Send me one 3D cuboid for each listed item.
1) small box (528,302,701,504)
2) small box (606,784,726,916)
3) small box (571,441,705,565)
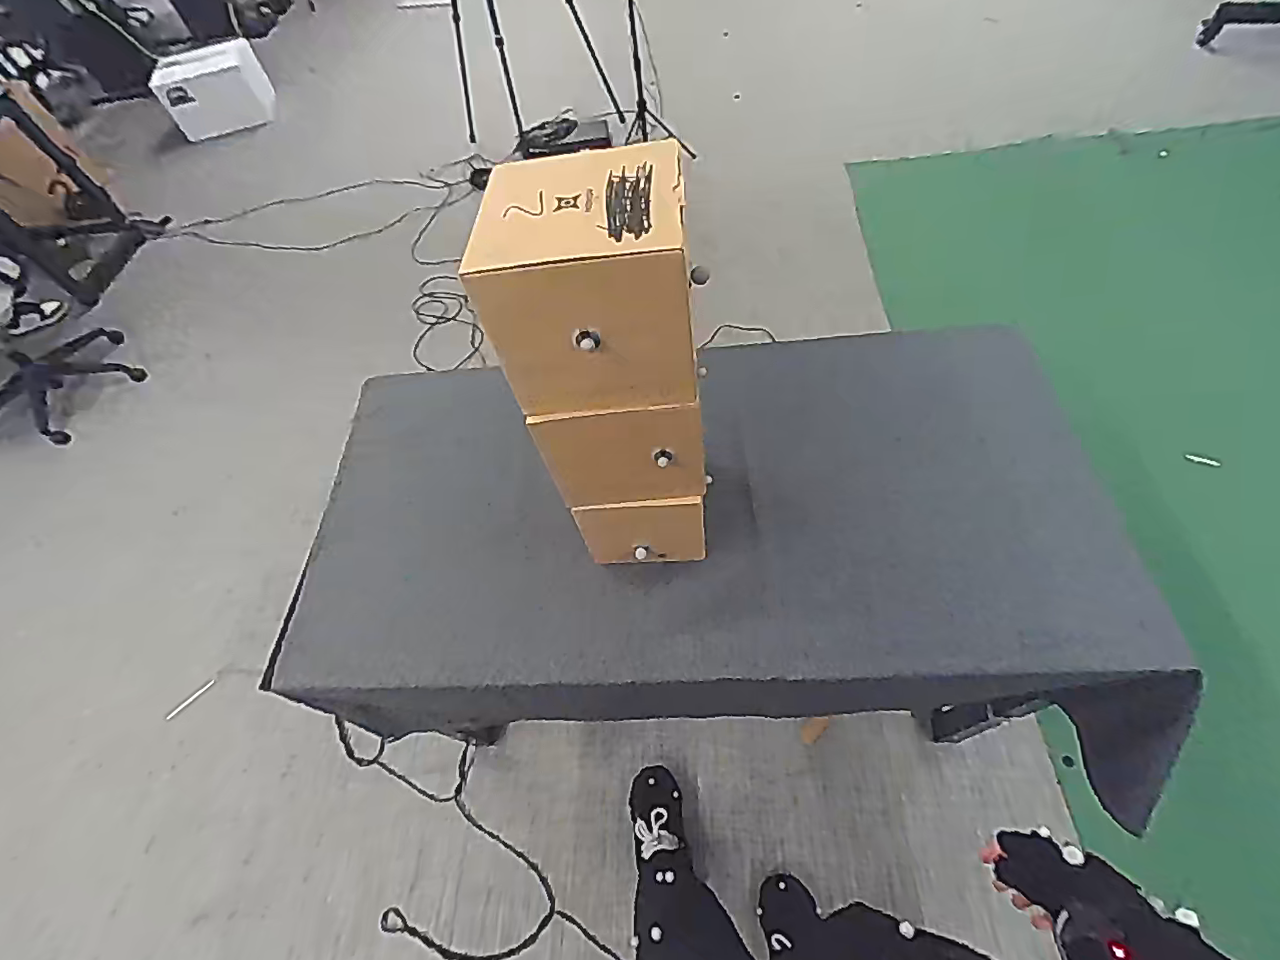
[{"bbox_3d":[-0.018,-0.085,0.647,0.179,0.176,0.168,-5,55,6],"label":"small box"},{"bbox_3d":[0.050,0.767,1.141,0.179,0.176,0.168,16,75,37],"label":"small box"},{"bbox_3d":[0.007,0.008,0.778,0.168,0.176,0.179,-3,57,7],"label":"small box"}]
